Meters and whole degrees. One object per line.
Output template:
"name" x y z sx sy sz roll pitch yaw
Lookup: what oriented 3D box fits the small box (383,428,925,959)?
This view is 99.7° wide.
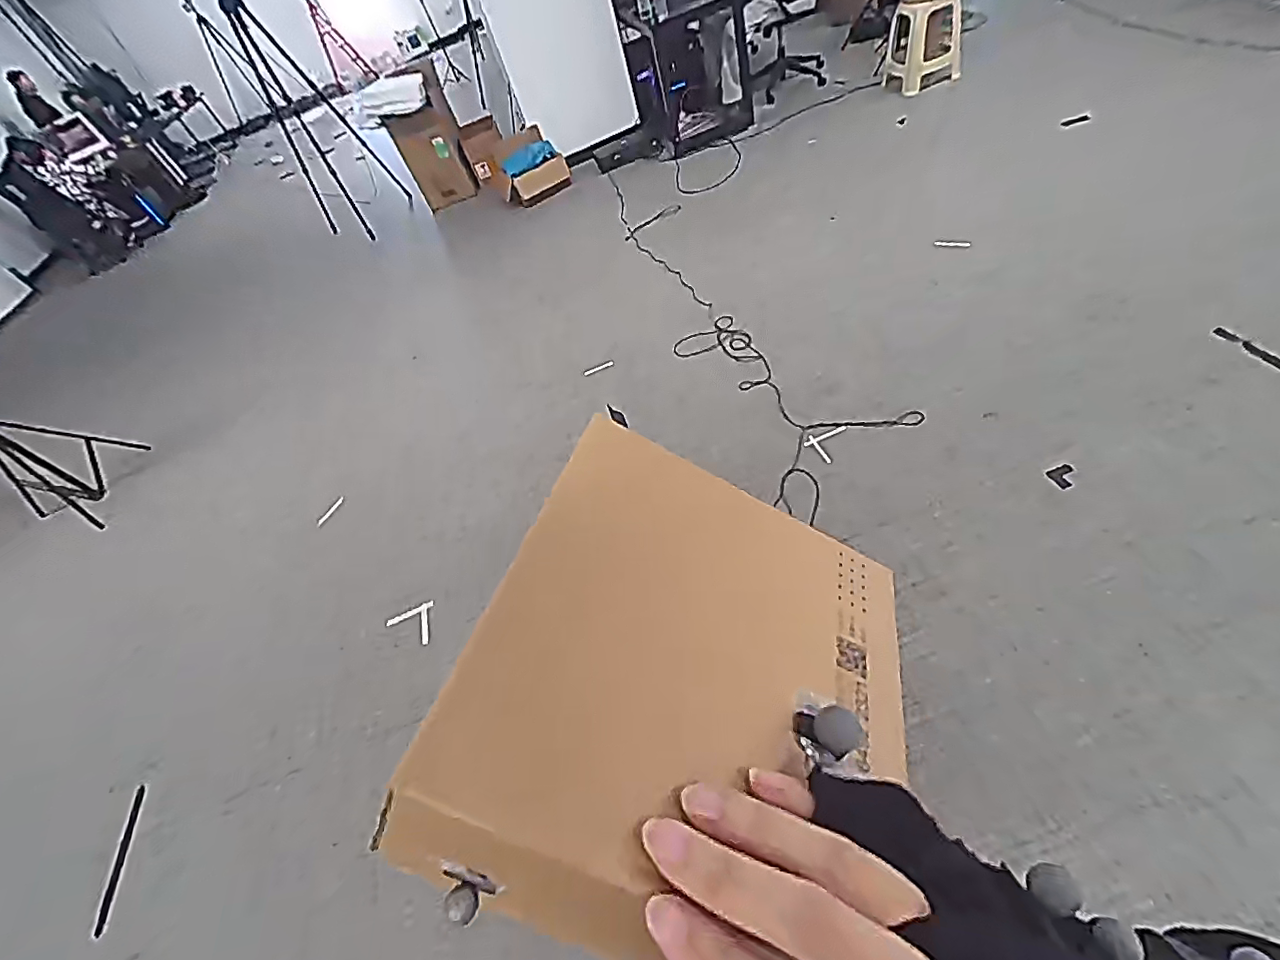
"small box" 0.003 0.115 0.266 0.176 0.179 0.168 28 45 -6
